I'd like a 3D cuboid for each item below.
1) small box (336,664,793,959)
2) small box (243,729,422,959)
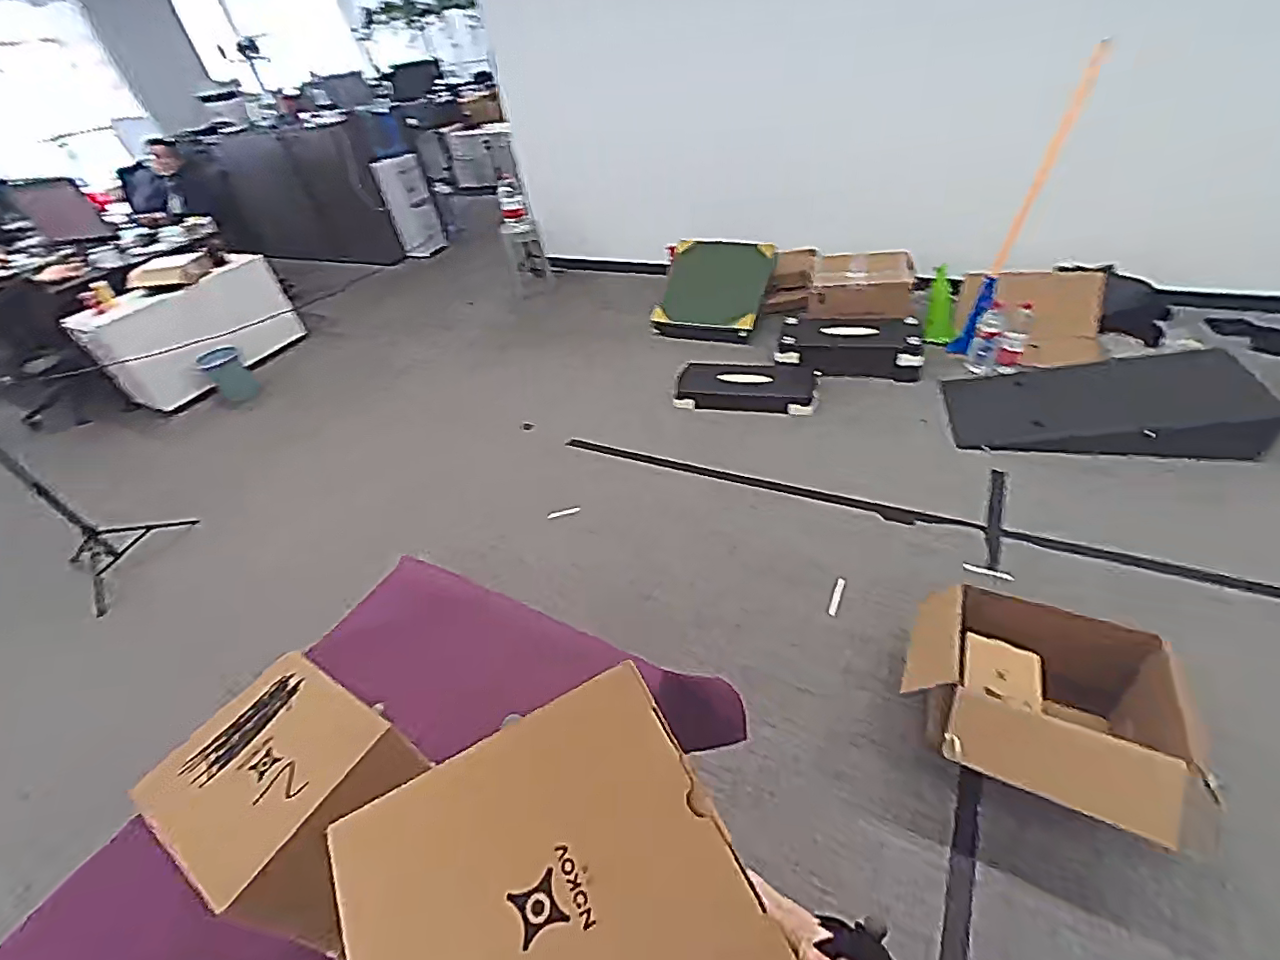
[{"bbox_3d":[-0.037,0.246,0.313,0.179,0.176,0.168,-24,54,-16],"label":"small box"},{"bbox_3d":[-0.308,0.443,0.648,0.179,0.176,0.168,16,47,28],"label":"small box"}]
